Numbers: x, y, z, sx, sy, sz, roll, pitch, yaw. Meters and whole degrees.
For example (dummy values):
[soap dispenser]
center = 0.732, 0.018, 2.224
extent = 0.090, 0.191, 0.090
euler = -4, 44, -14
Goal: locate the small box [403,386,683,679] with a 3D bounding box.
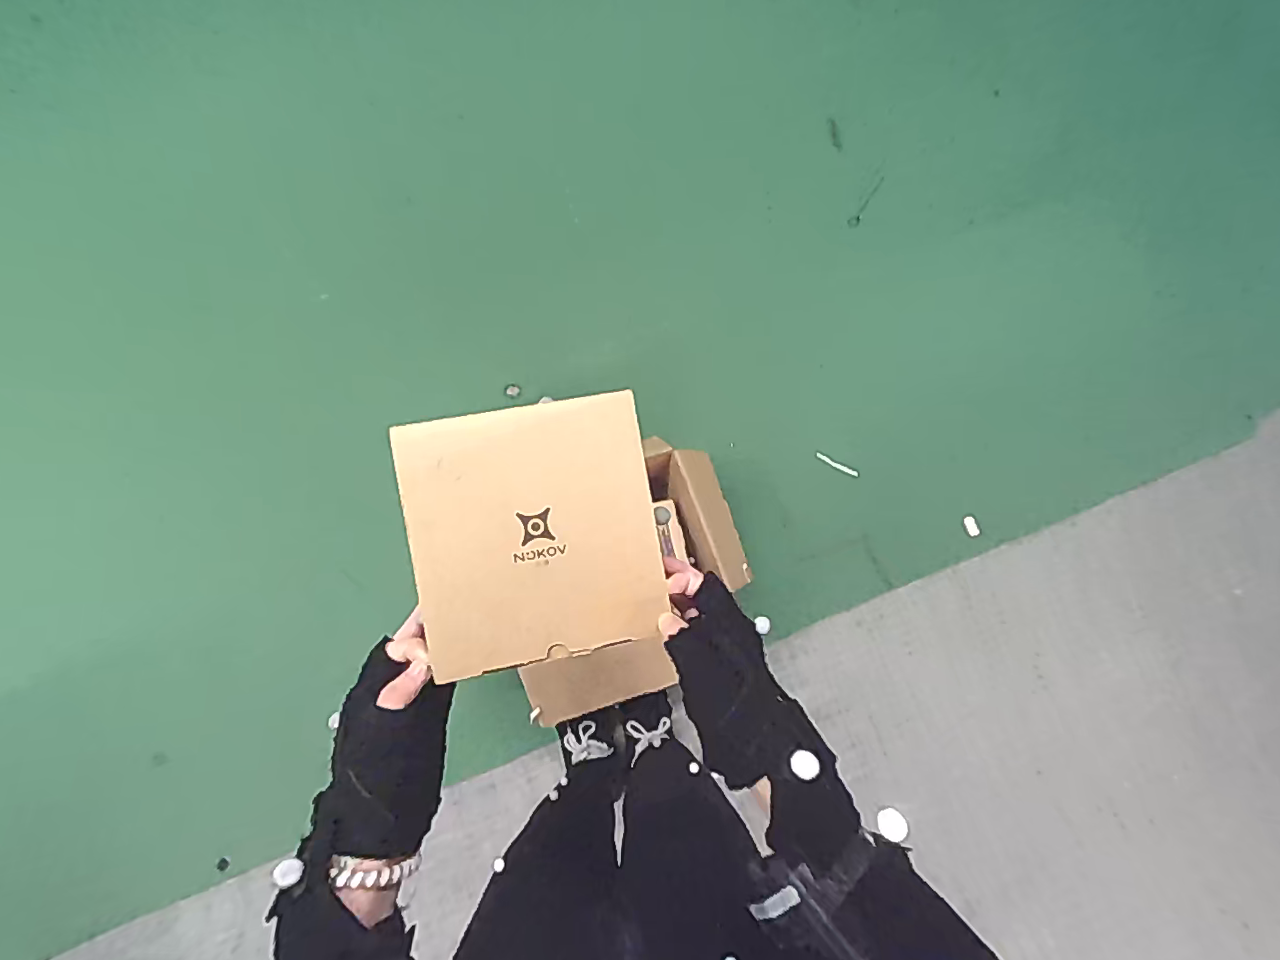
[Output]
[small box]
center = -0.075, 0.032, 0.441
extent = 0.168, 0.176, 0.179
euler = -10, 93, -9
